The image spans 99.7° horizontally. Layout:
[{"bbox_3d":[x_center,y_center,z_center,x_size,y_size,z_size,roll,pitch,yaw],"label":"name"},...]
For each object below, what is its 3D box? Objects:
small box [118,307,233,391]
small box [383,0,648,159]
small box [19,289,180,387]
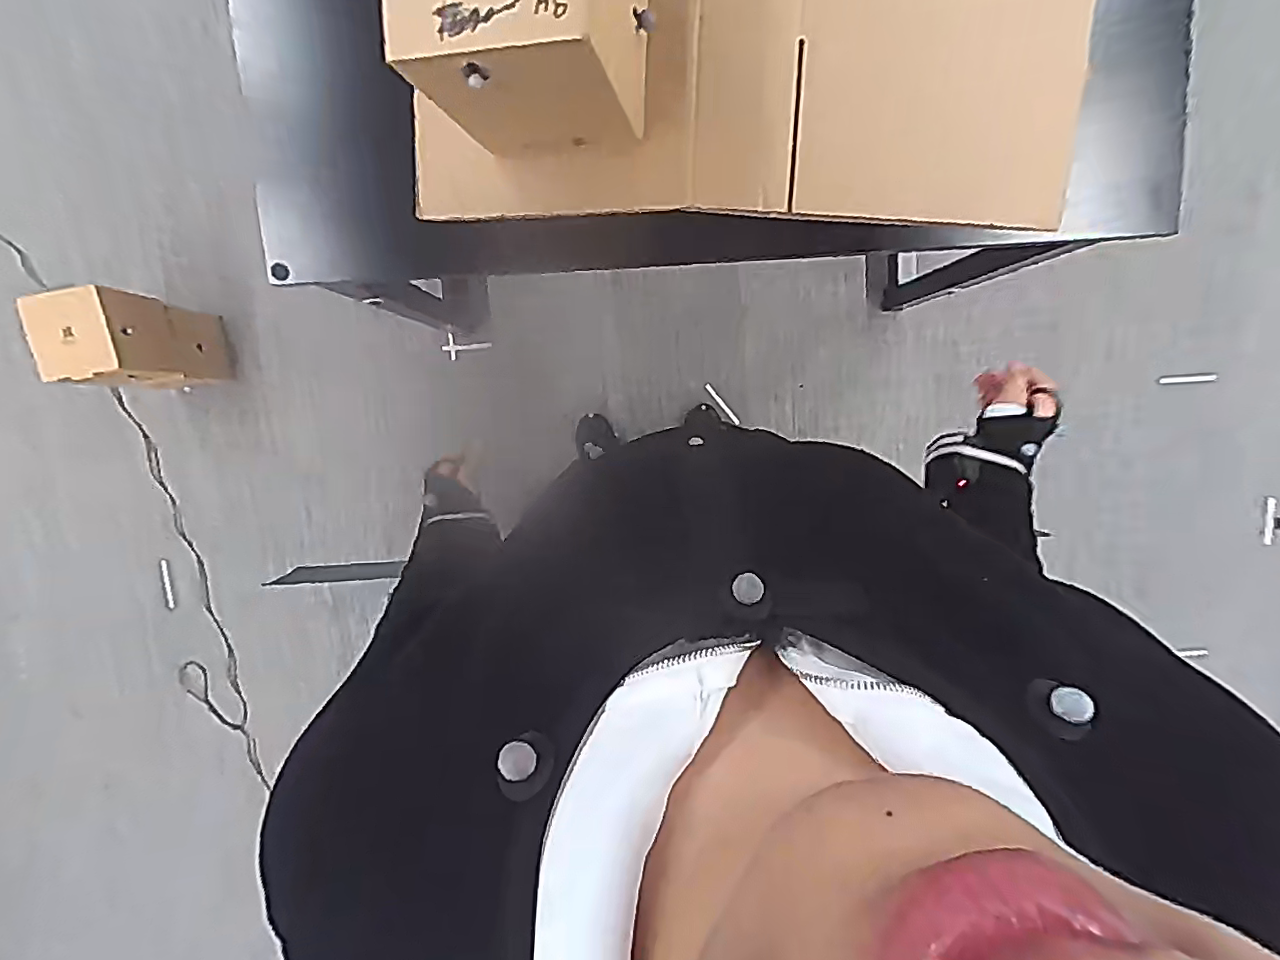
[{"bbox_3d":[-1.169,-0.319,1.348,0.168,0.176,0.179,-7,99,0],"label":"small box"},{"bbox_3d":[-0.092,-0.407,0.460,0.168,0.176,0.179,4,98,13],"label":"small box"},{"bbox_3d":[-1.168,-0.302,1.186,0.168,0.176,0.179,-10,97,0],"label":"small box"}]
